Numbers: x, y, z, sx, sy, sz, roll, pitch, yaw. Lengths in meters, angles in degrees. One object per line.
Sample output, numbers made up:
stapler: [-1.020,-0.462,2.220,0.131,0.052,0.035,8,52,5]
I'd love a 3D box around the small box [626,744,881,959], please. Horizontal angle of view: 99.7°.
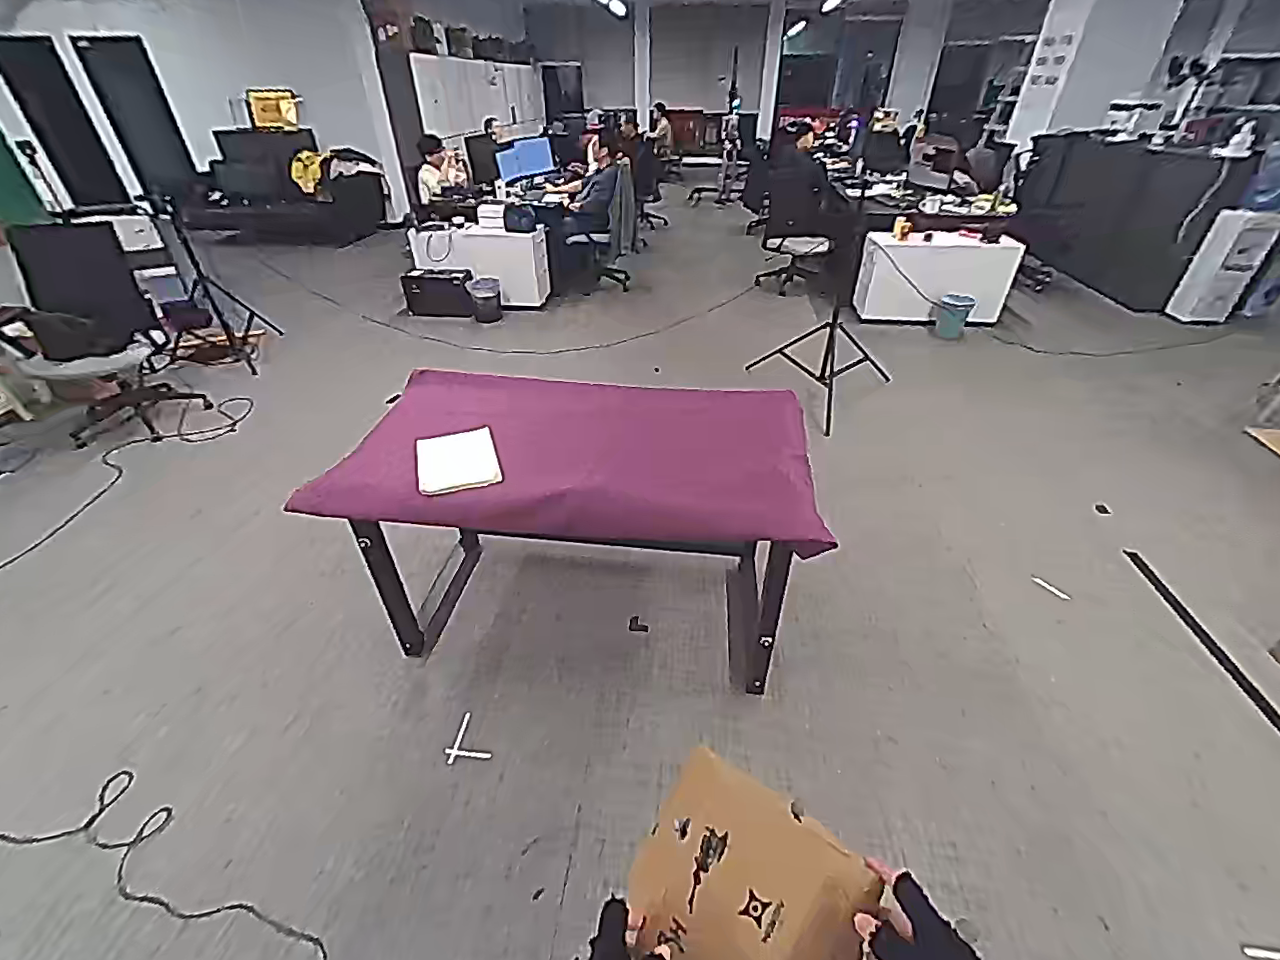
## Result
small box: [0.101,0.397,0.553,0.179,0.176,0.168,31,73,7]
